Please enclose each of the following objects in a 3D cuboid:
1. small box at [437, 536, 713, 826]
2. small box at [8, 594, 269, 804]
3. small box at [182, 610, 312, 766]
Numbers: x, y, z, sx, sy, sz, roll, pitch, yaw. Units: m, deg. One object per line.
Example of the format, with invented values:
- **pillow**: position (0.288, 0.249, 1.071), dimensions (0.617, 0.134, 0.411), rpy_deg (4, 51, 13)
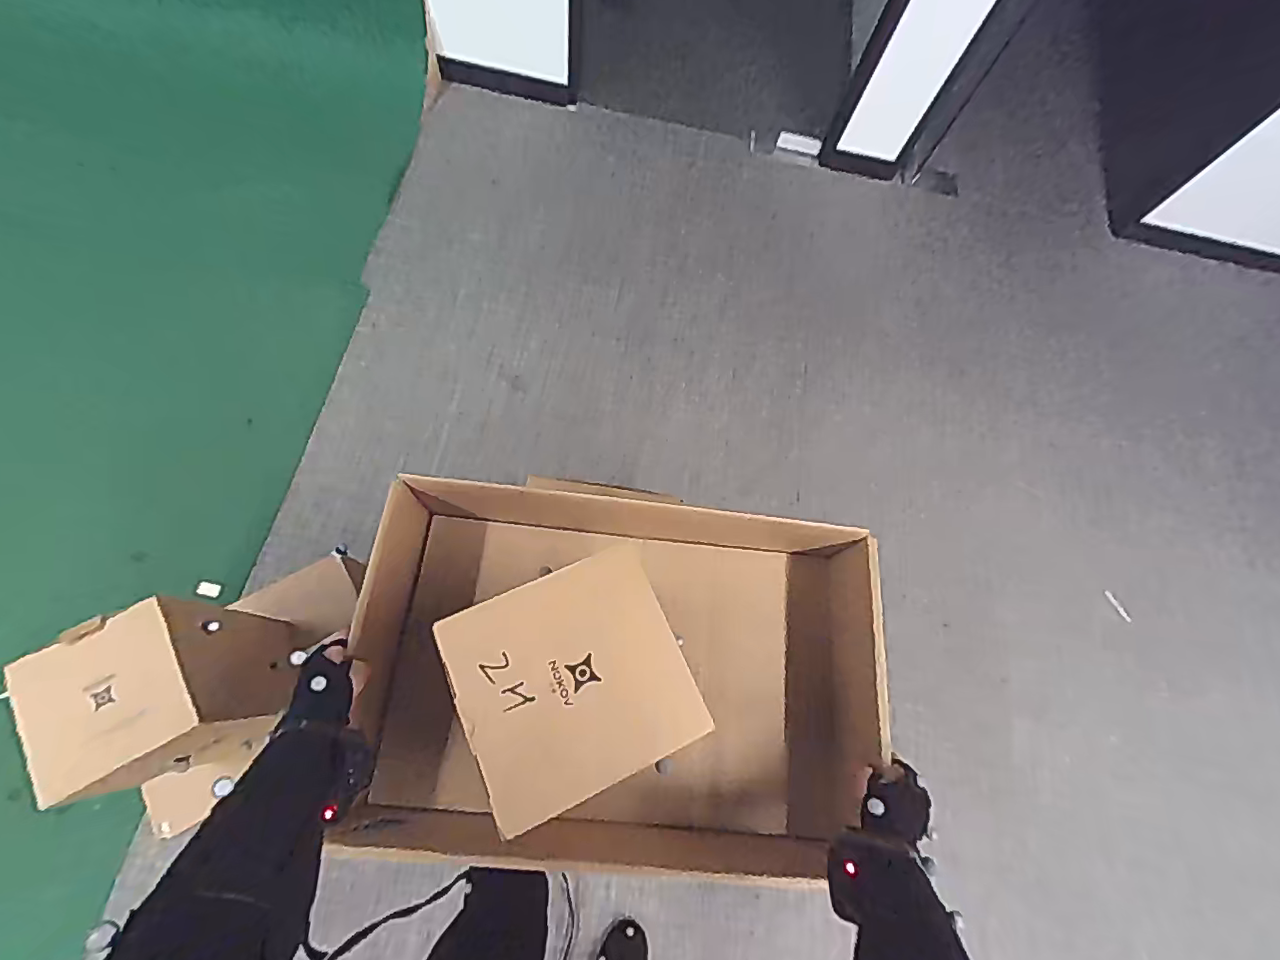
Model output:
- **small box**: position (-0.059, 0.174, 0.498), dimensions (0.179, 0.176, 0.168), rpy_deg (-22, 72, -12)
- **small box**: position (-0.628, 0.274, 0.699), dimensions (0.168, 0.176, 0.179), rpy_deg (-28, 75, -16)
- **small box**: position (-0.656, 0.329, 0.850), dimensions (0.168, 0.176, 0.179), rpy_deg (-24, 75, -16)
